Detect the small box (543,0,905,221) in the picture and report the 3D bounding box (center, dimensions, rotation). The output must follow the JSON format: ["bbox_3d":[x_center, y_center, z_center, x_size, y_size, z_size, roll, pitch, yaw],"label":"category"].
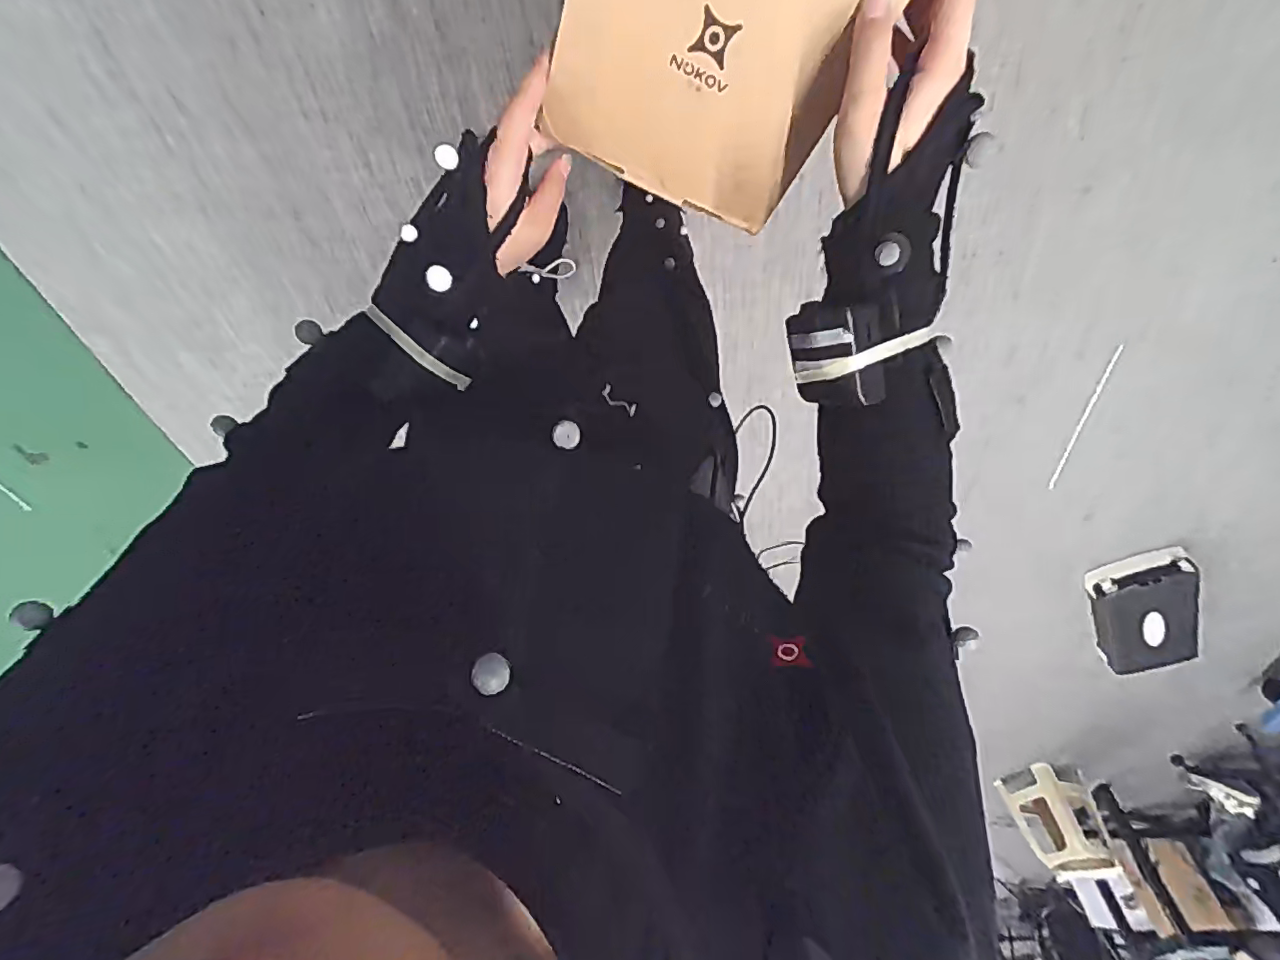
[{"bbox_3d":[0.054,-0.313,0.340,0.168,0.176,0.179,18,145,-14],"label":"small box"}]
